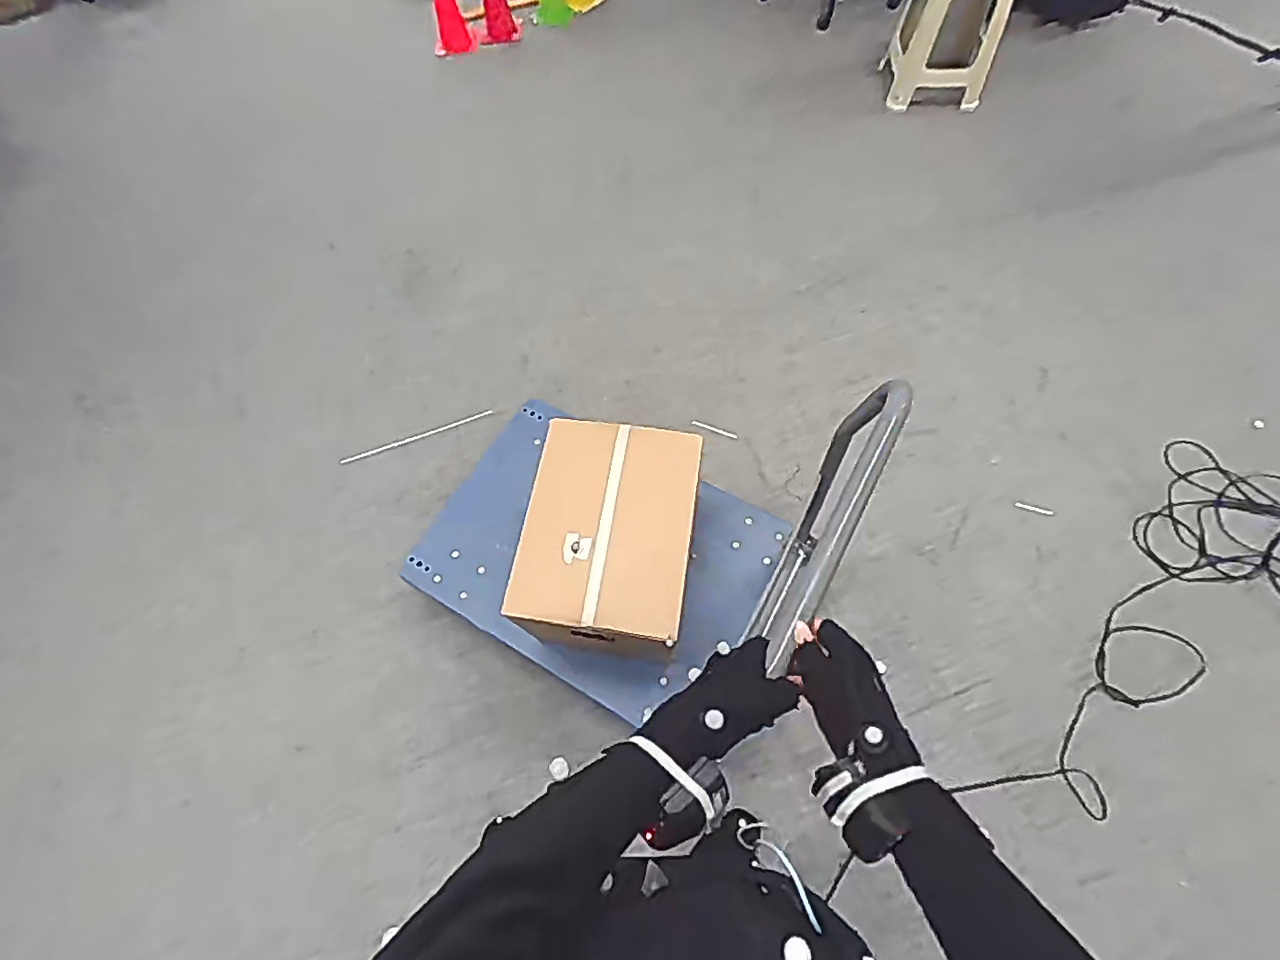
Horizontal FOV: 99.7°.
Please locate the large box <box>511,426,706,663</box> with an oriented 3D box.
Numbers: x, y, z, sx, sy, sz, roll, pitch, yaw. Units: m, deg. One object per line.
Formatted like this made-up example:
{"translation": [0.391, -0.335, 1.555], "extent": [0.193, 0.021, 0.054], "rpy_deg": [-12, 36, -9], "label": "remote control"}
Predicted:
{"translation": [-0.044, 0.145, 1.146], "extent": [0.320, 0.320, 0.408], "rpy_deg": [7, 66, 7], "label": "large box"}
